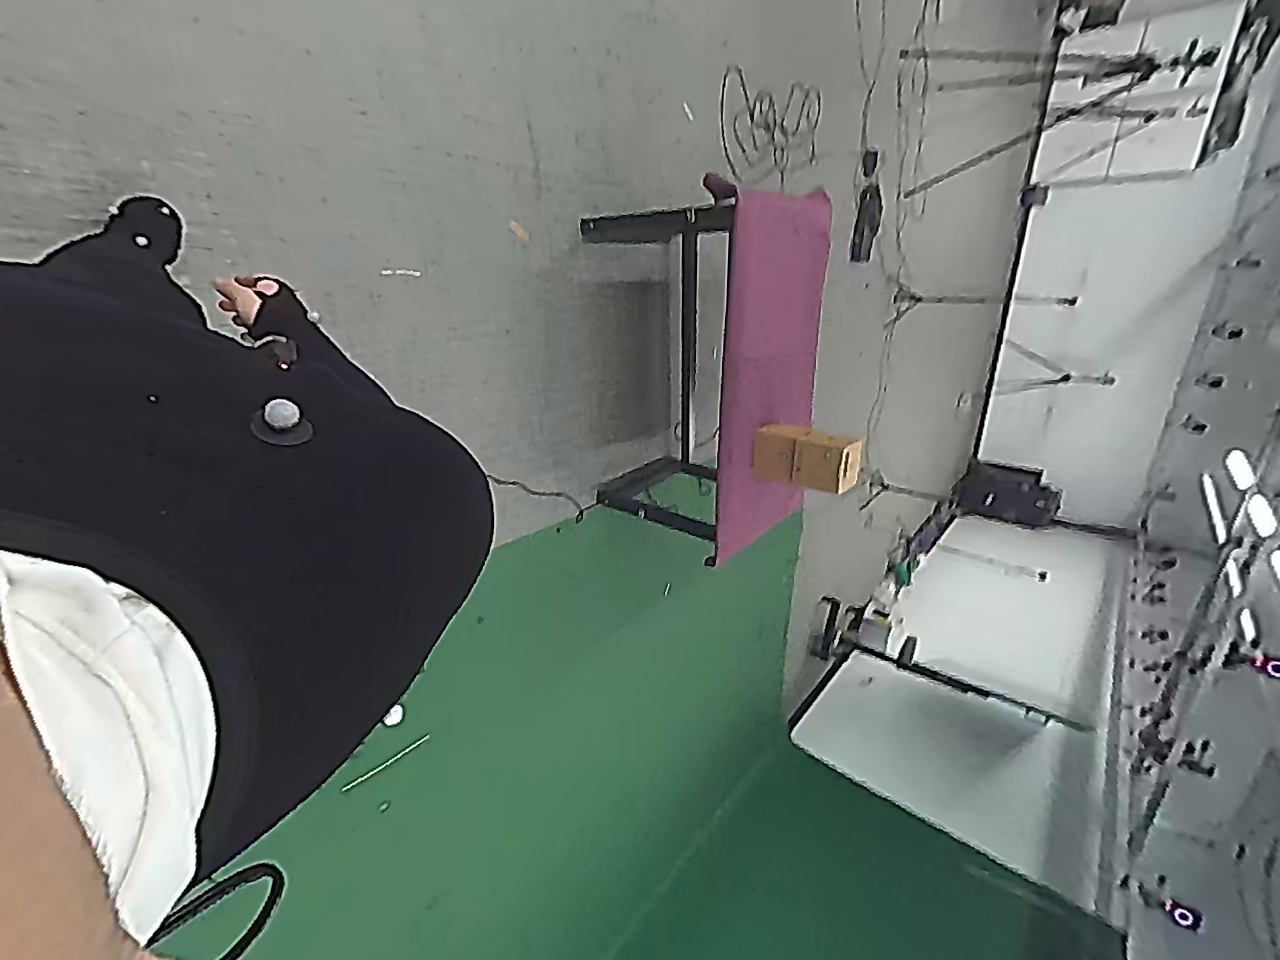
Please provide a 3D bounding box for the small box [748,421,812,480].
[{"bbox_3d":[0.514,-0.116,1.994,0.168,0.176,0.179,-20,119,-46],"label":"small box"}]
